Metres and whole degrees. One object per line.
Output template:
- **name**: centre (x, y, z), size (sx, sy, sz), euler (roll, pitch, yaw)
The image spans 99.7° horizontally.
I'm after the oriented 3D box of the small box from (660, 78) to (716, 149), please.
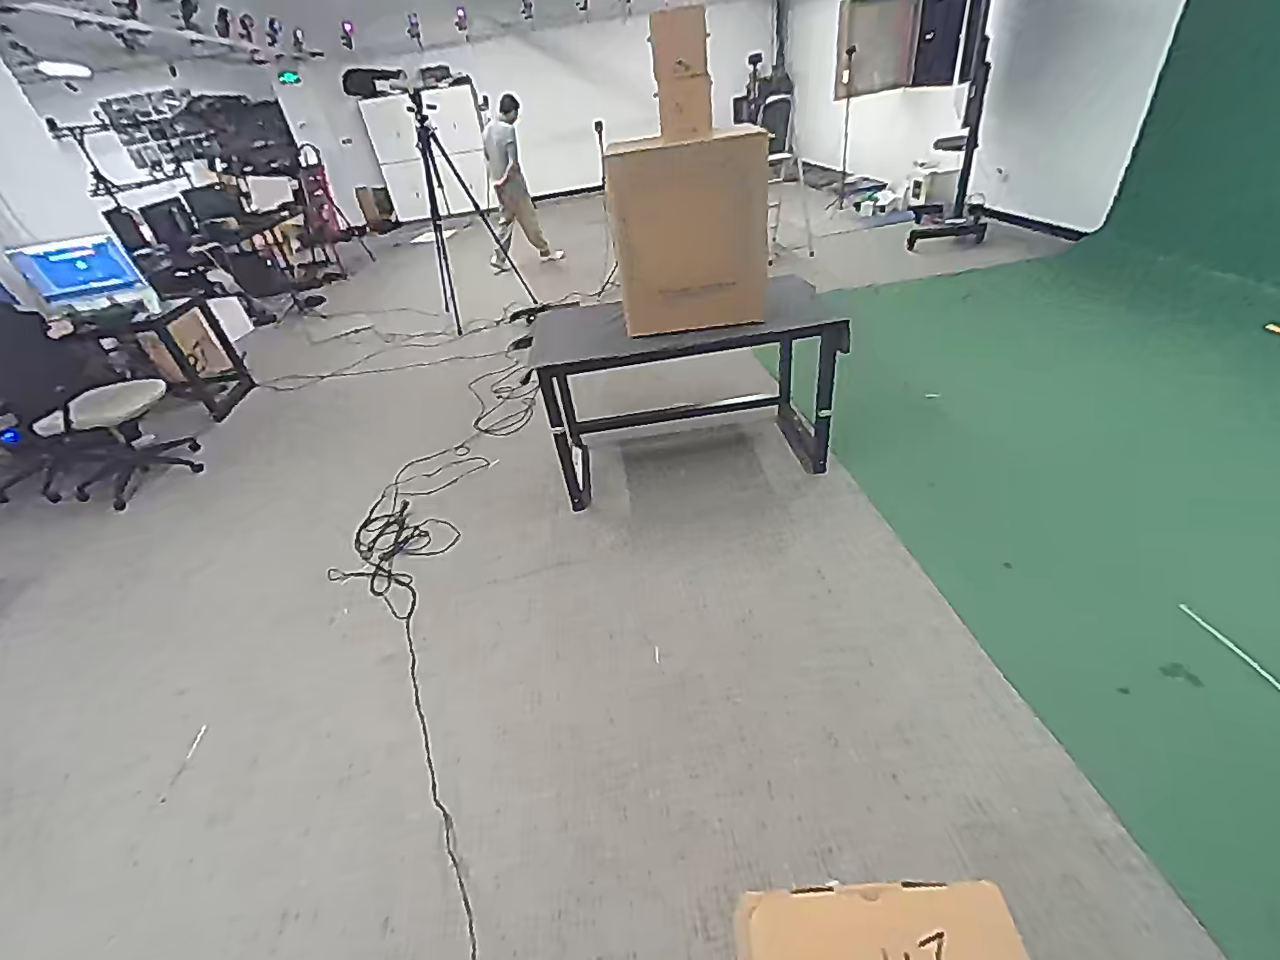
- **small box**: centre (0.157, -1.193, 1.765), size (0.168, 0.176, 0.179), euler (-4, 38, 7)
